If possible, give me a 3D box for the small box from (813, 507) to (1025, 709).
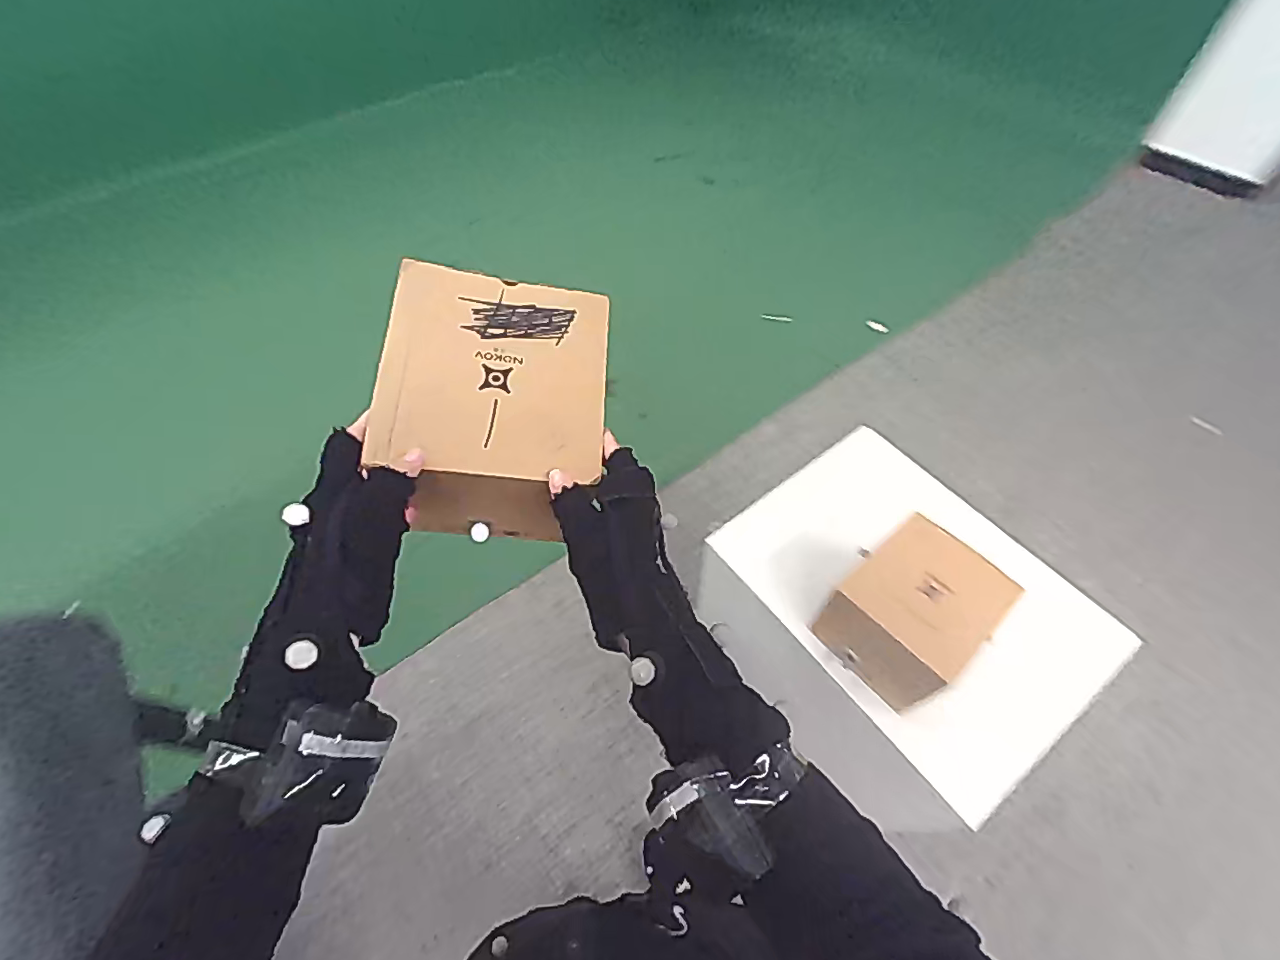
[{"bbox_3d":[0.359,0.176,0.733,0.179,0.176,0.168,-38,61,-19],"label":"small box"}]
